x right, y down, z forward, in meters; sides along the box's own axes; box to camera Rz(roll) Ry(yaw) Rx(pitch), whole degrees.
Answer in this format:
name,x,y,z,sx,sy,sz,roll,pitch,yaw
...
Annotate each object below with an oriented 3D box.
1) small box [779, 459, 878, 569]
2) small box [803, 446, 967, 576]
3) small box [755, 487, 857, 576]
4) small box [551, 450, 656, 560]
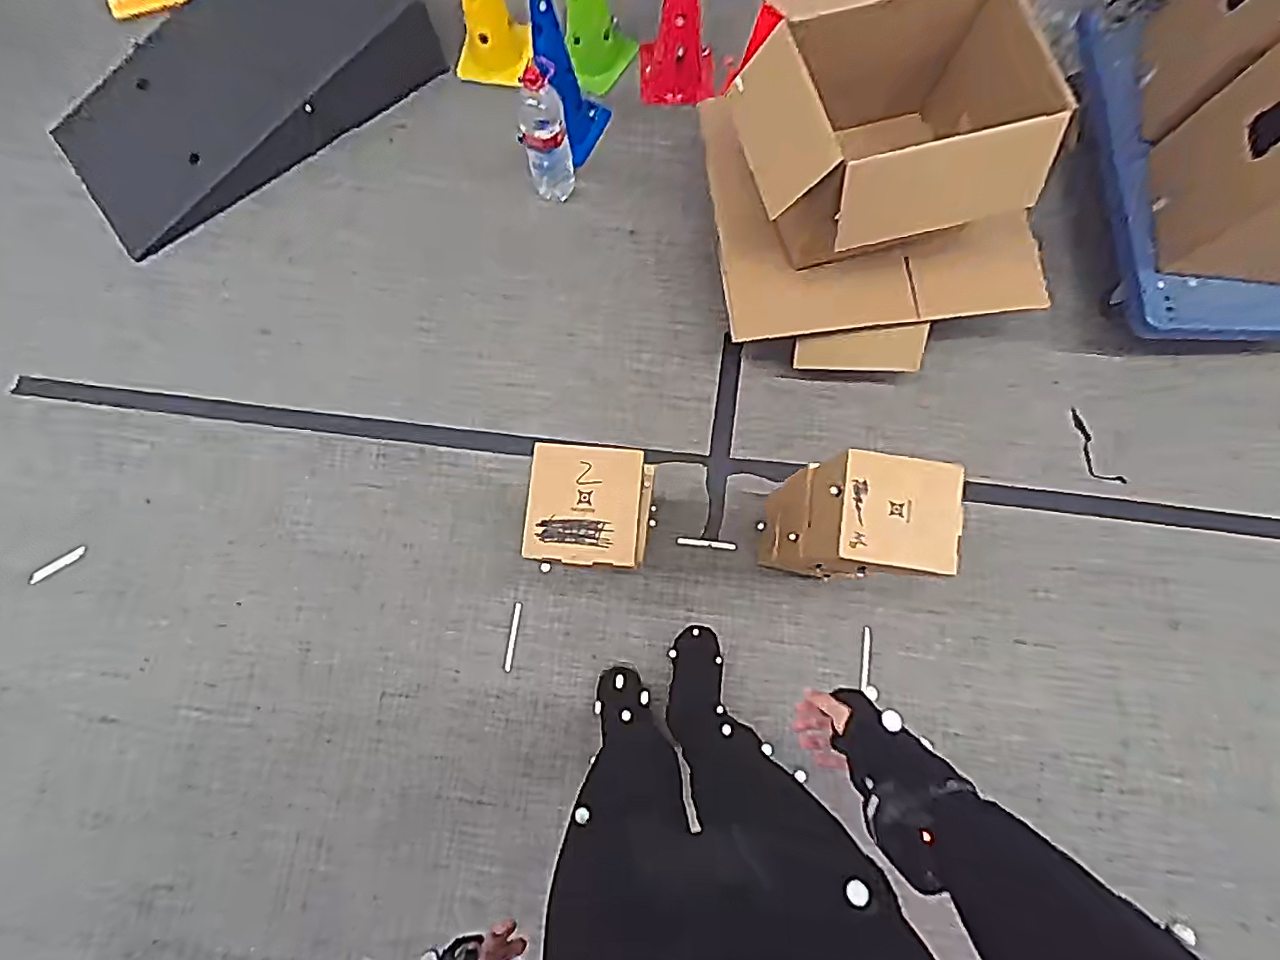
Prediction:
name,x,y,z,sx,sy,sz,roll,pitch,yaw
small box,0.371,0.071,1.030,0.168,0.176,0.179,8,81,0
small box,0.382,0.054,0.867,0.179,0.176,0.168,10,82,0
small box,0.369,0.111,1.187,0.179,0.176,0.168,12,80,1
small box,-0.062,0.055,1.031,0.168,0.176,0.179,8,79,1
